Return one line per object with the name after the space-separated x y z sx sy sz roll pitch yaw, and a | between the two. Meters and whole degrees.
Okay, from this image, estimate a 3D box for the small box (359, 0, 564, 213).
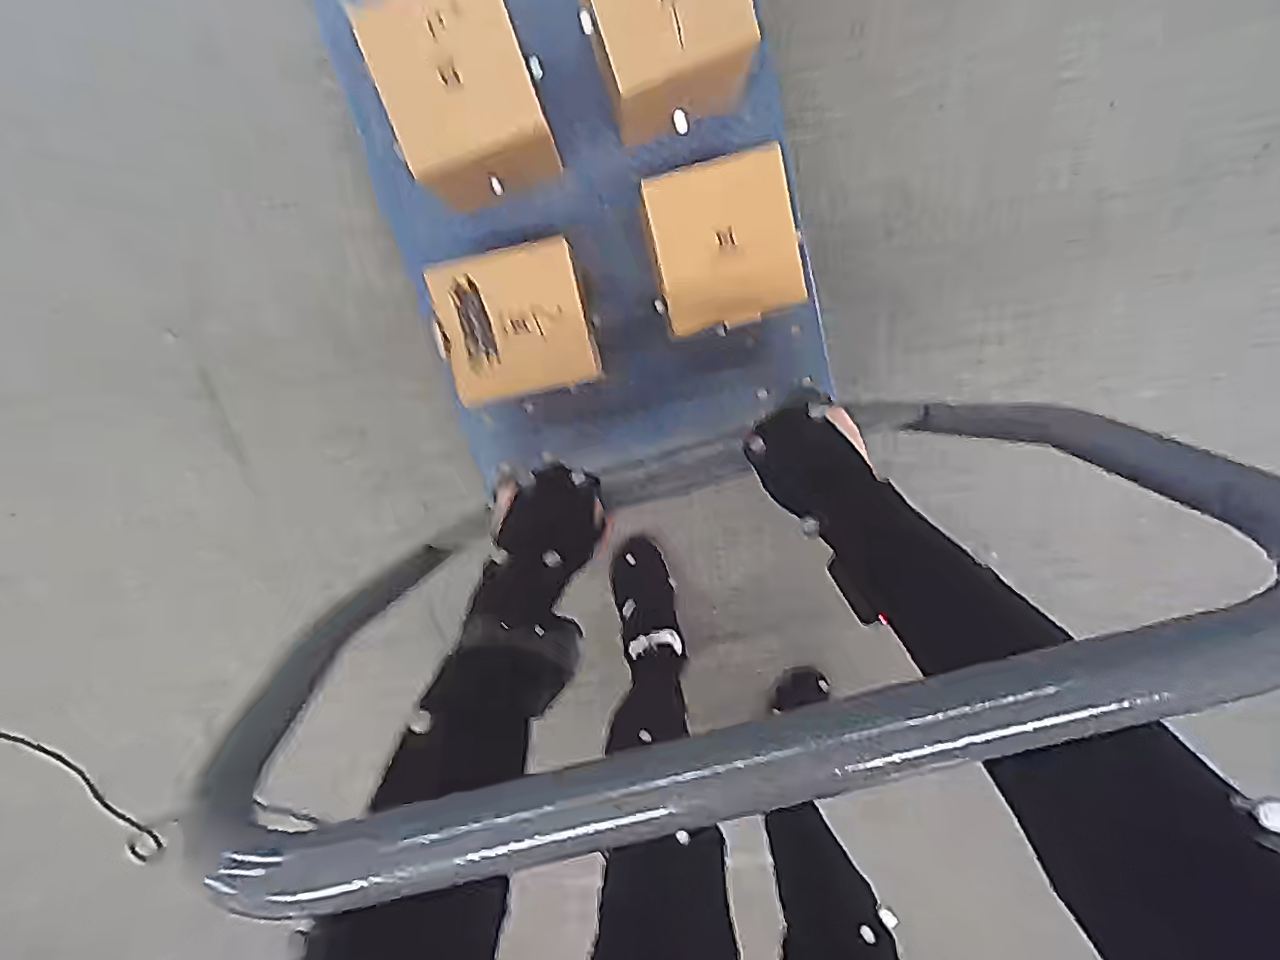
-0.205 -0.459 0.680 0.168 0.176 0.179 -19 101 3 | small box

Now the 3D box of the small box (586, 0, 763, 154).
0.033 -0.542 0.661 0.168 0.176 0.179 -18 102 5 | small box

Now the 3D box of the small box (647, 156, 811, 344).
0.106 -0.287 0.716 0.168 0.176 0.179 -14 102 3 | small box
